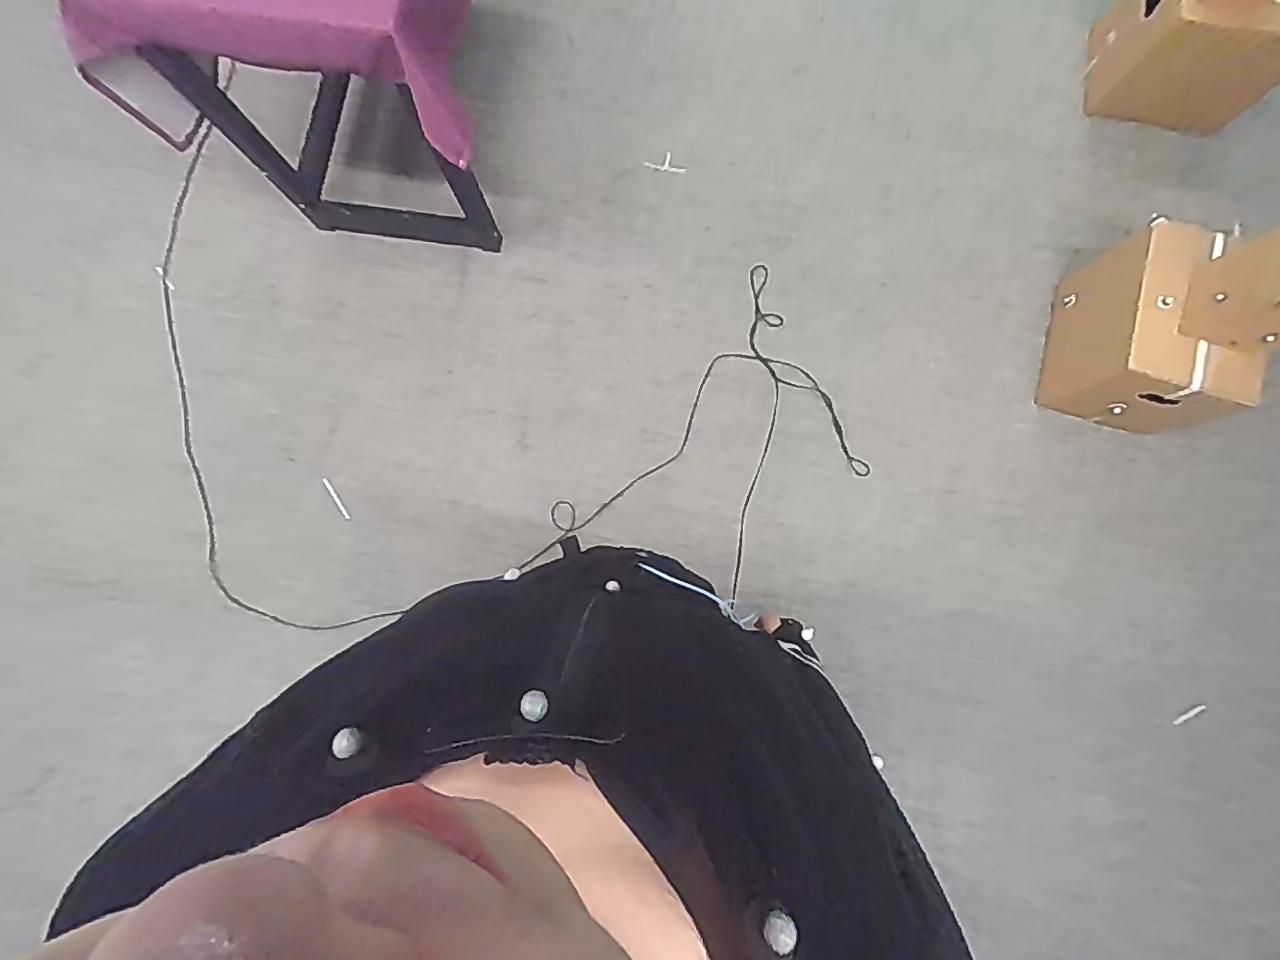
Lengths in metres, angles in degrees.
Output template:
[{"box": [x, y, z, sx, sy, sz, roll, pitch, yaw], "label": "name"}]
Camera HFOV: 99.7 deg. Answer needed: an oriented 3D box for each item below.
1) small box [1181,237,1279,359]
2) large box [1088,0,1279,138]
[{"box": [1.373, -0.393, 1.201, 0.168, 0.176, 0.179, 21, 82, 1], "label": "small box"}, {"box": [1.624, -1.269, 1.572, 0.408, 0.320, 0.320, 11, 82, 1], "label": "large box"}]
